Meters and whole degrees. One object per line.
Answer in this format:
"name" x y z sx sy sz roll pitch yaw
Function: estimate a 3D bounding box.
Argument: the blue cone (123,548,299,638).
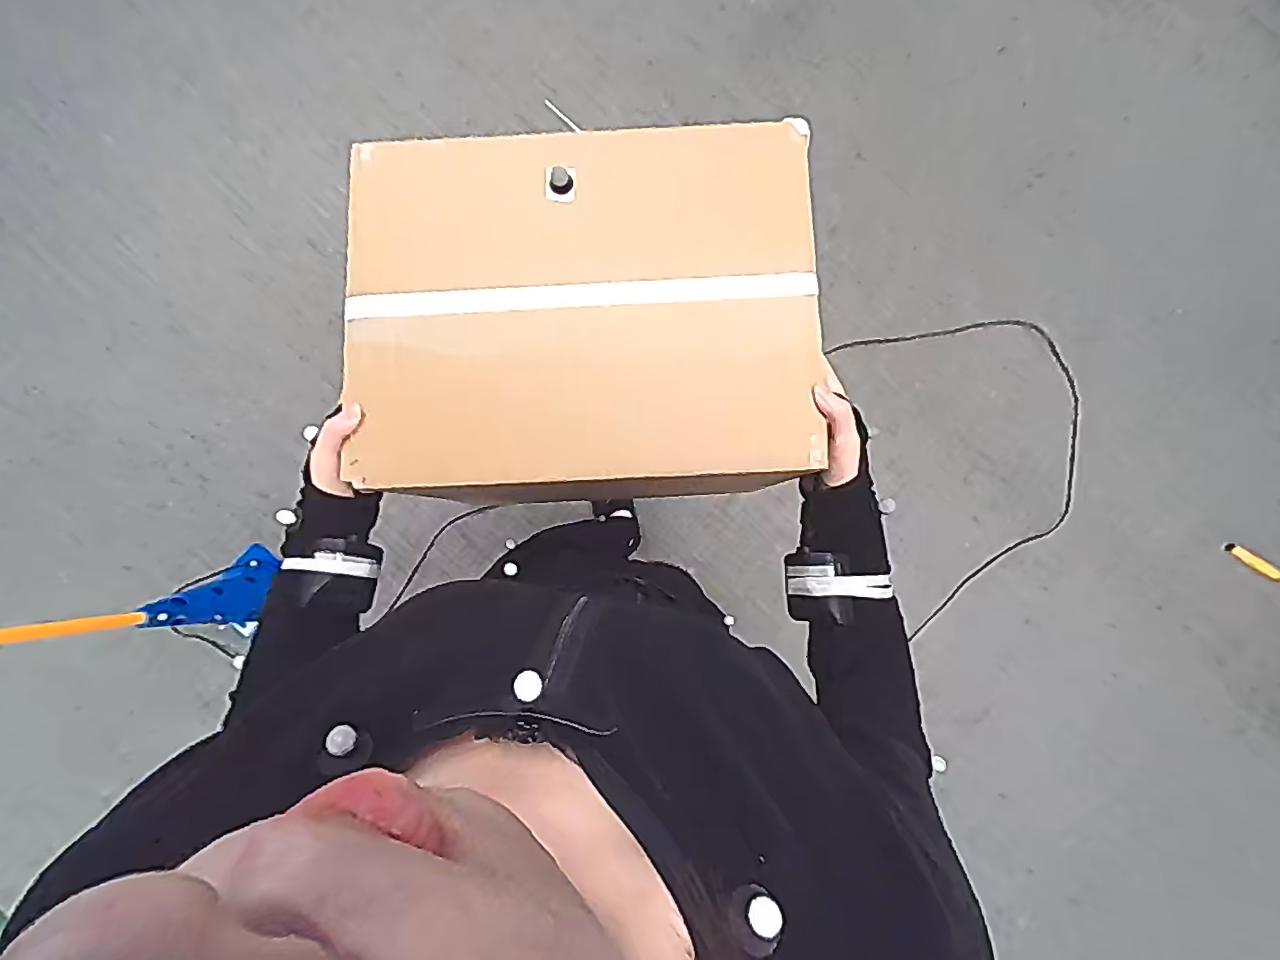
"blue cone" -1.003 0.279 1.236 0.193 0.380 0.192 39 85 1
